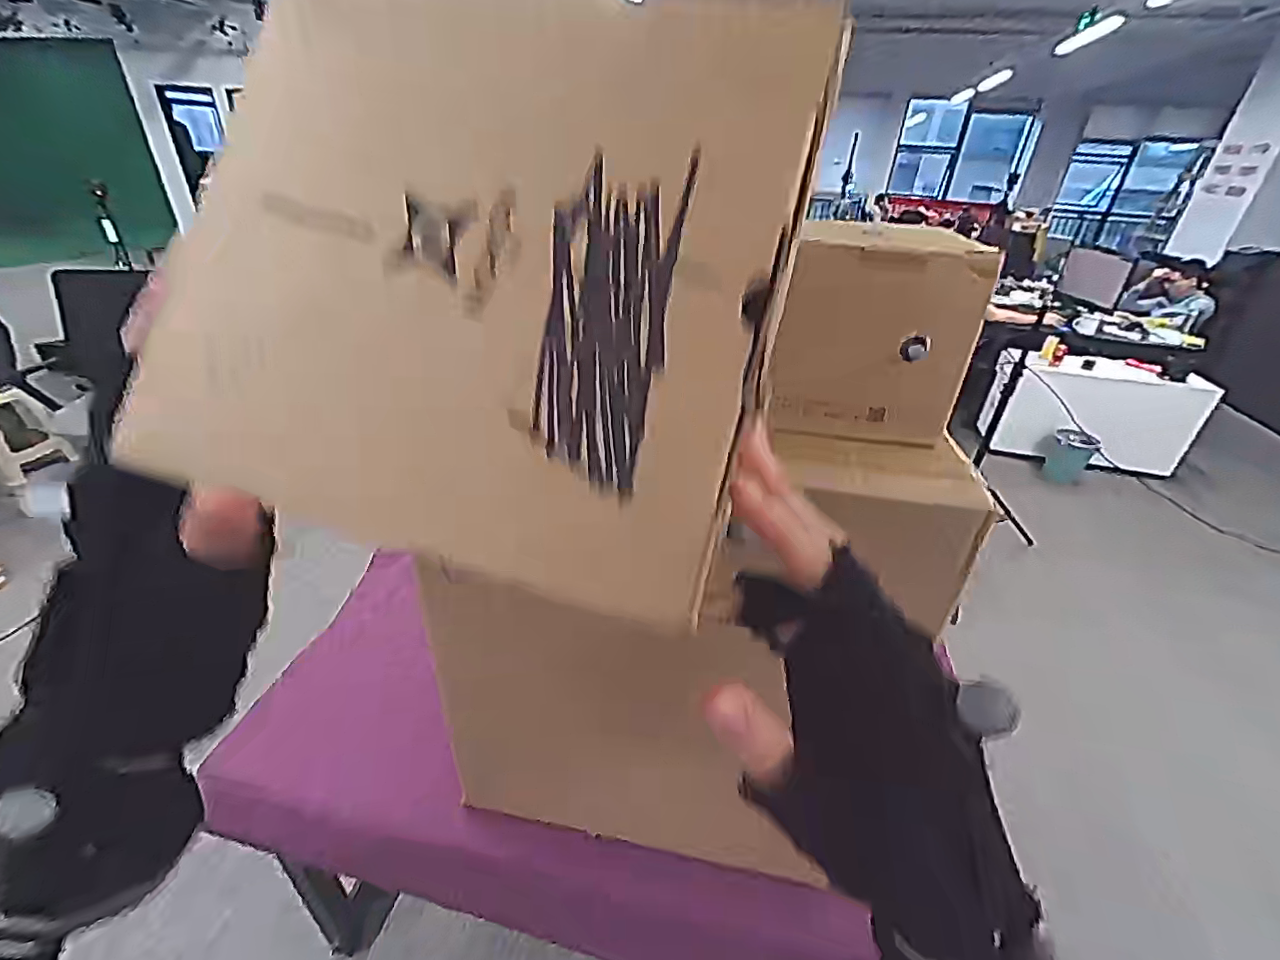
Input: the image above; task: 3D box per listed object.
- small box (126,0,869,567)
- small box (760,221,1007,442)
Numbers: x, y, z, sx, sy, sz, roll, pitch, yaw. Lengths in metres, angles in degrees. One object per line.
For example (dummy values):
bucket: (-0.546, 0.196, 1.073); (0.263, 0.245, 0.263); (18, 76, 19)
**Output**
small box: (-0.031, -0.069, 0.224); (0.179, 0.168, 0.176); (15, -6, 11)
small box: (0.209, -0.150, 0.525); (0.168, 0.176, 0.179); (8, 30, 7)
